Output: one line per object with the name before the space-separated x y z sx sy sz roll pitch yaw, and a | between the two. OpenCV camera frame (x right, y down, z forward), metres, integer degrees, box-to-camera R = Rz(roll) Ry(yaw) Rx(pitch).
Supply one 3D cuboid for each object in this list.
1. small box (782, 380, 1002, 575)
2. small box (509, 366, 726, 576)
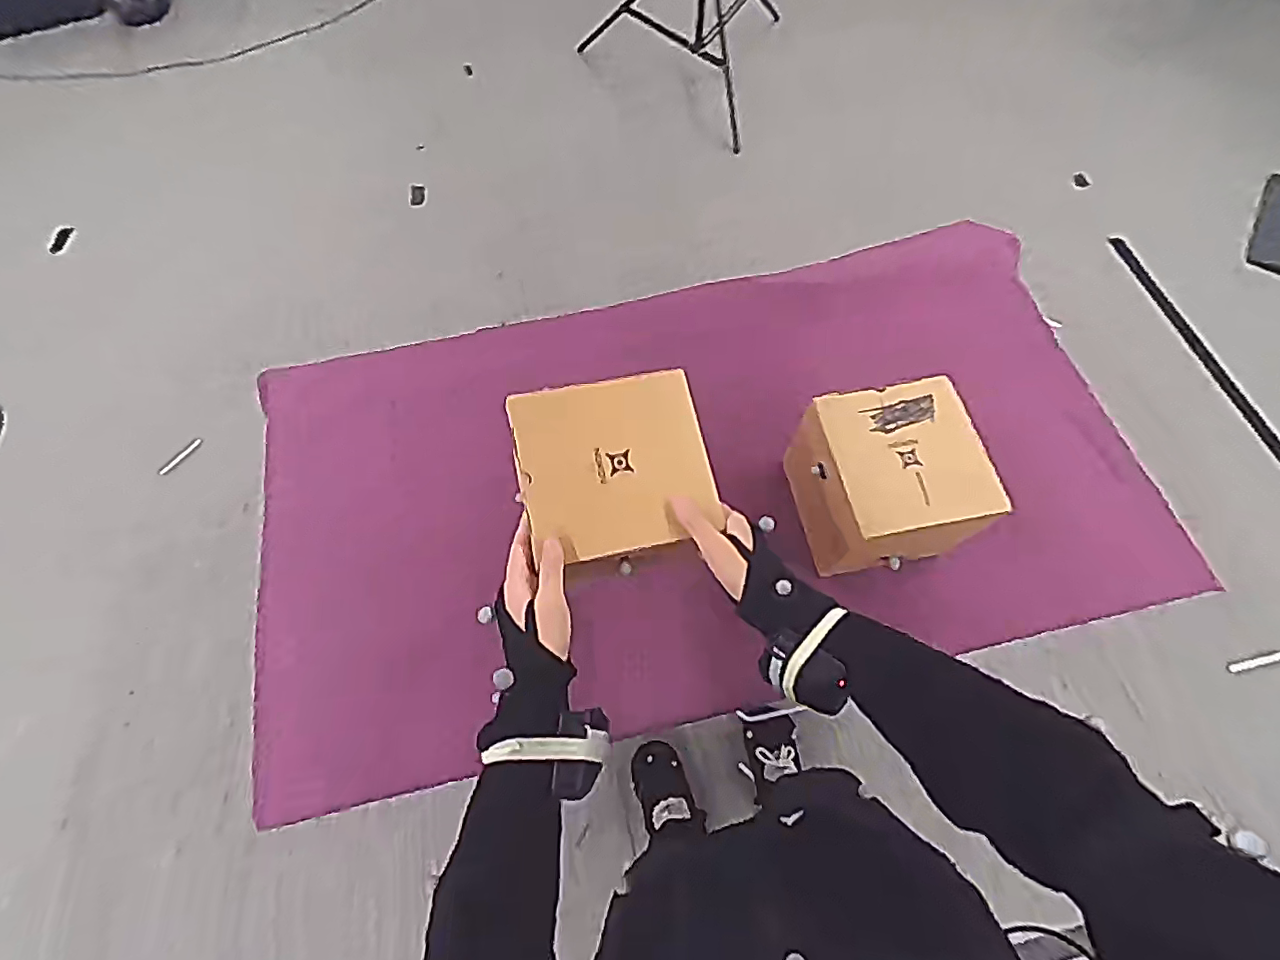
small box | 0.290 0.003 0.673 0.168 0.176 0.179 -10 67 -3
small box | -0.031 0.000 0.569 0.179 0.176 0.168 -11 77 -9
